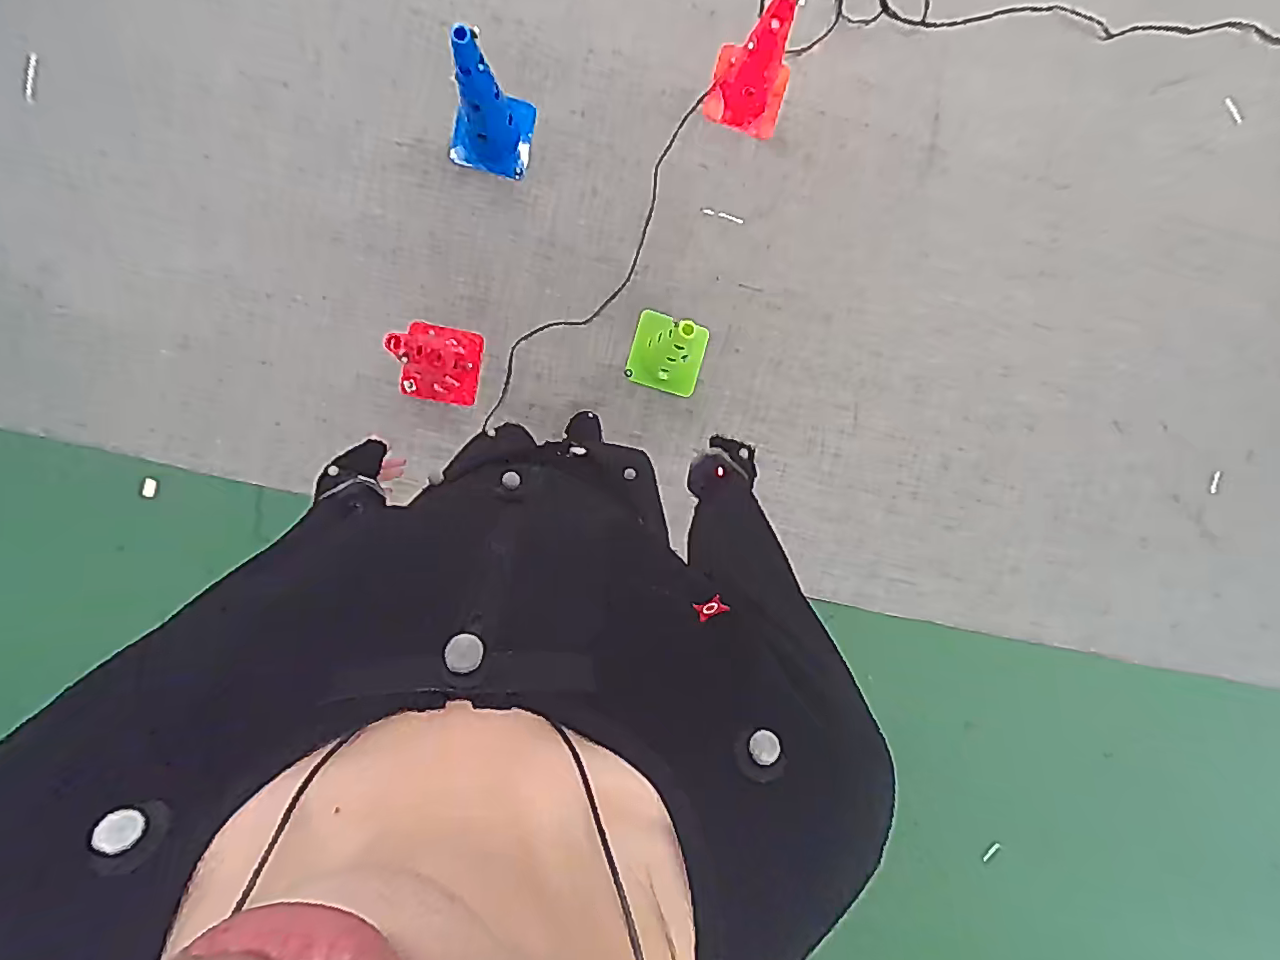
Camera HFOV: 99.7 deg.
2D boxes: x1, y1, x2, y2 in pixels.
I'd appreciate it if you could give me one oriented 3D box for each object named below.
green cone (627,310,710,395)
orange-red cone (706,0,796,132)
[{"bbox_3d":[0.095,-0.340,1.322,0.200,0.368,0.202,15,93,-6],"label":"green cone"},{"bbox_3d":[0.301,-1.041,1.281,0.198,0.360,0.199,18,95,-5],"label":"orange-red cone"}]
